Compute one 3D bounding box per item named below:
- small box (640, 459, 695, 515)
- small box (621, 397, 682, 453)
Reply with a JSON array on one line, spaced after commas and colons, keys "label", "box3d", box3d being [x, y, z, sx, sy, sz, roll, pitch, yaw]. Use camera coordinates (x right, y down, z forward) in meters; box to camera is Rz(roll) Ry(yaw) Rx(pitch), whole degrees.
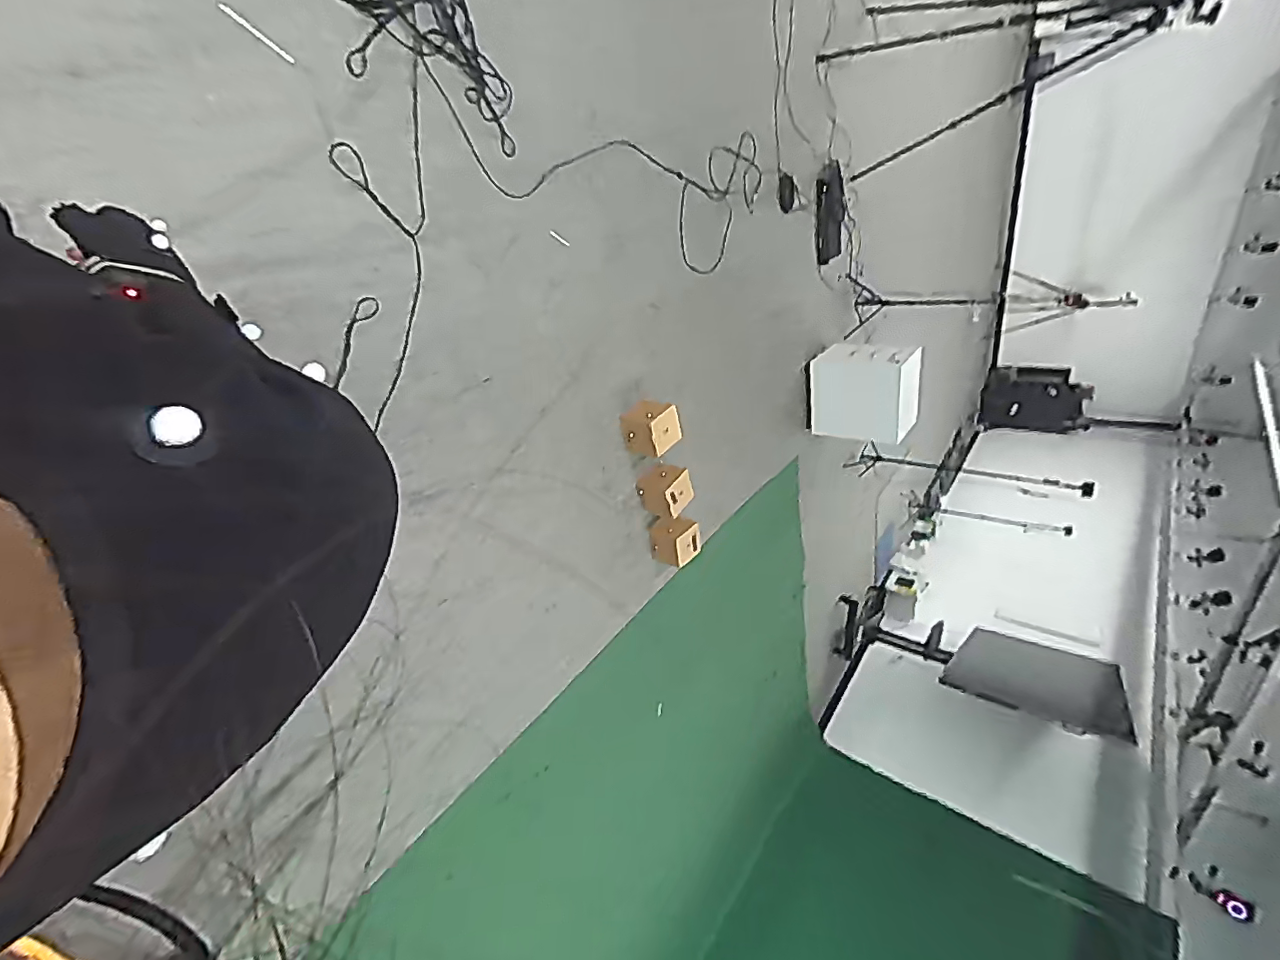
[{"label": "small box", "box3d": [0.117, 0.028, 2.436, 0.179, 0.176, 0.168, -46, 133, -33]}, {"label": "small box", "box3d": [0.049, -0.236, 2.272, 0.179, 0.176, 0.168, -41, 130, -35]}]
